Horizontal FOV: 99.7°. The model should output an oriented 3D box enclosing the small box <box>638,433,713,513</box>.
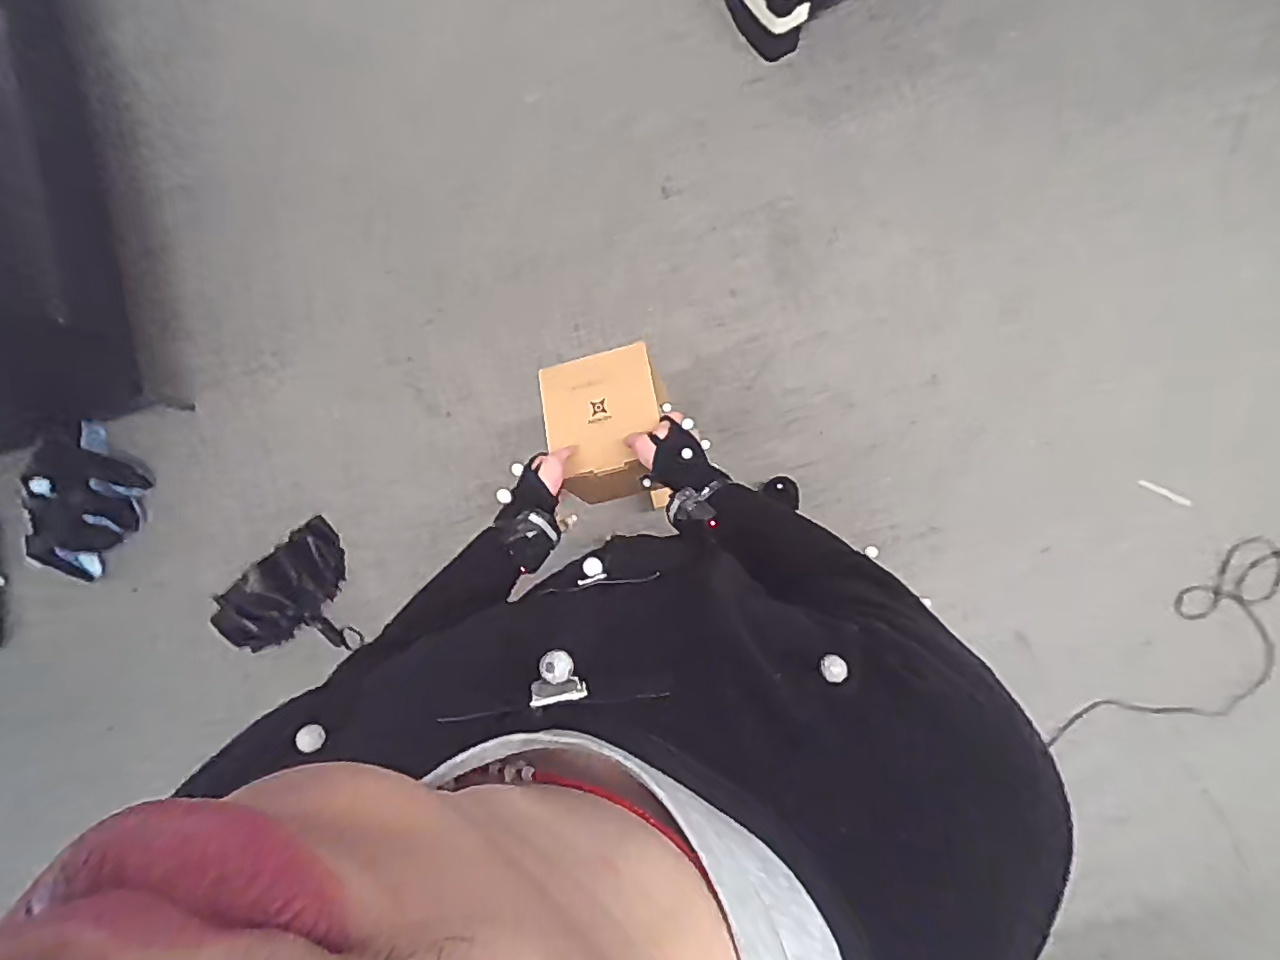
[{"bbox_3d":[0.096,-0.012,1.482,0.168,0.176,0.179,-15,84,3],"label":"small box"}]
